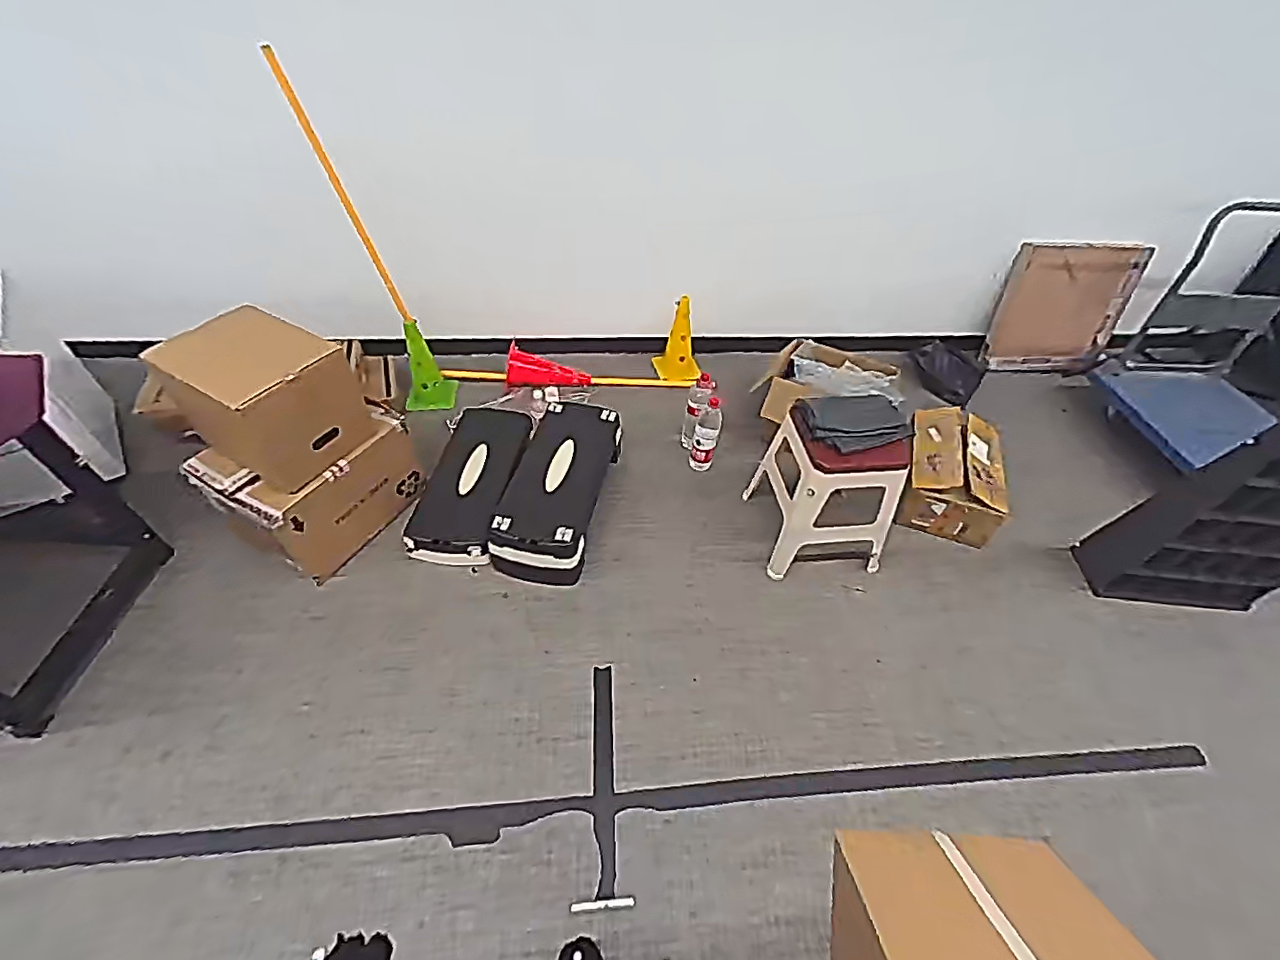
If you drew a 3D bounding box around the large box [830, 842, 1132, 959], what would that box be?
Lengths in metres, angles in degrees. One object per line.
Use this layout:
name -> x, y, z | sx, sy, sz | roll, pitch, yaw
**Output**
large box -> 0.432, 0.720, 0.629 | 0.320, 0.320, 0.408 | 2, 2, 4
